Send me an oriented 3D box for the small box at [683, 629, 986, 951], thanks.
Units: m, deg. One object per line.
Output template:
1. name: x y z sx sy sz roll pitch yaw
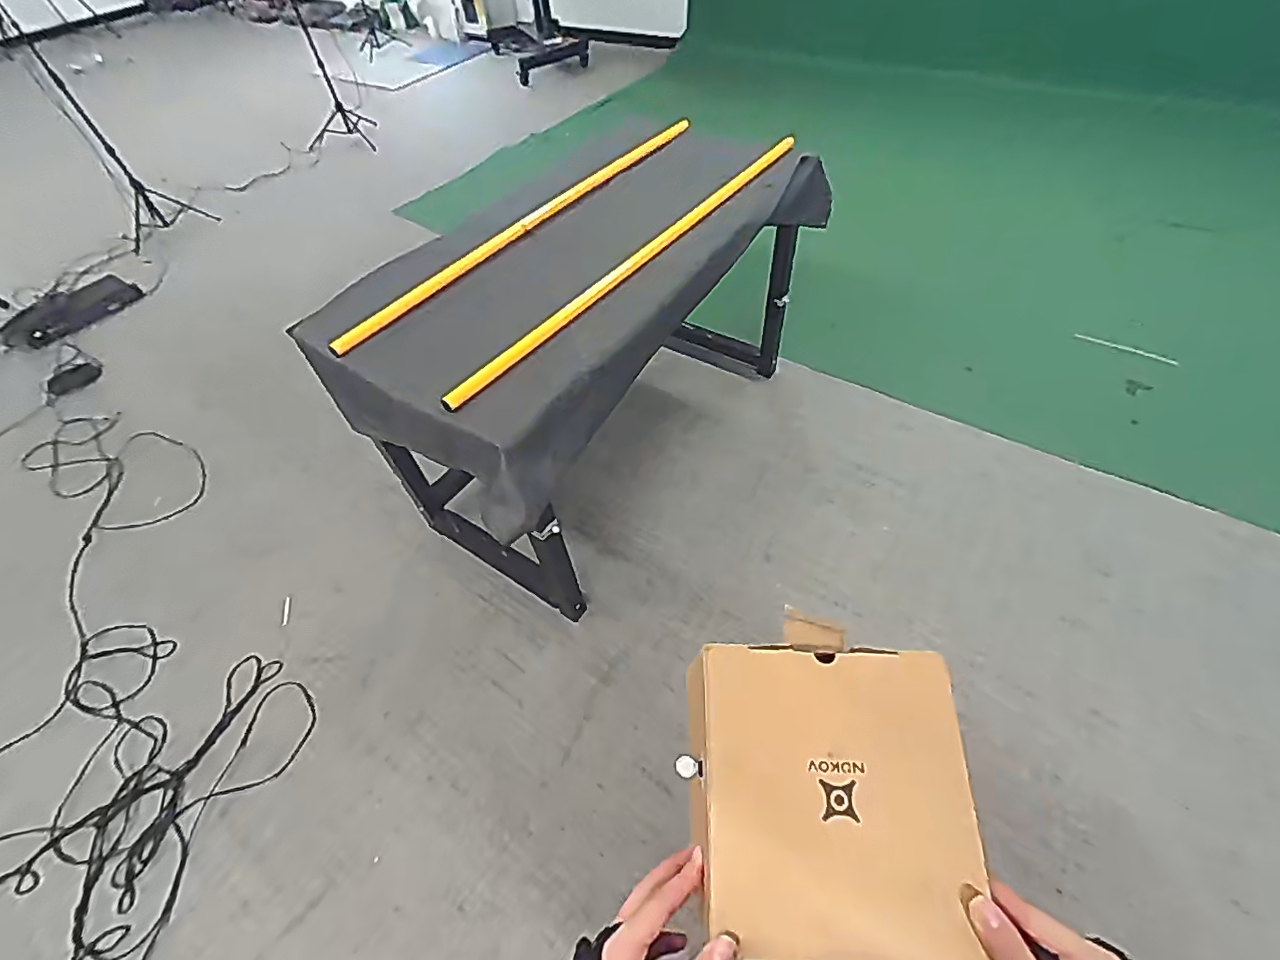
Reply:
1. small box: 0.121 0.217 0.416 0.168 0.176 0.179 1 66 2
